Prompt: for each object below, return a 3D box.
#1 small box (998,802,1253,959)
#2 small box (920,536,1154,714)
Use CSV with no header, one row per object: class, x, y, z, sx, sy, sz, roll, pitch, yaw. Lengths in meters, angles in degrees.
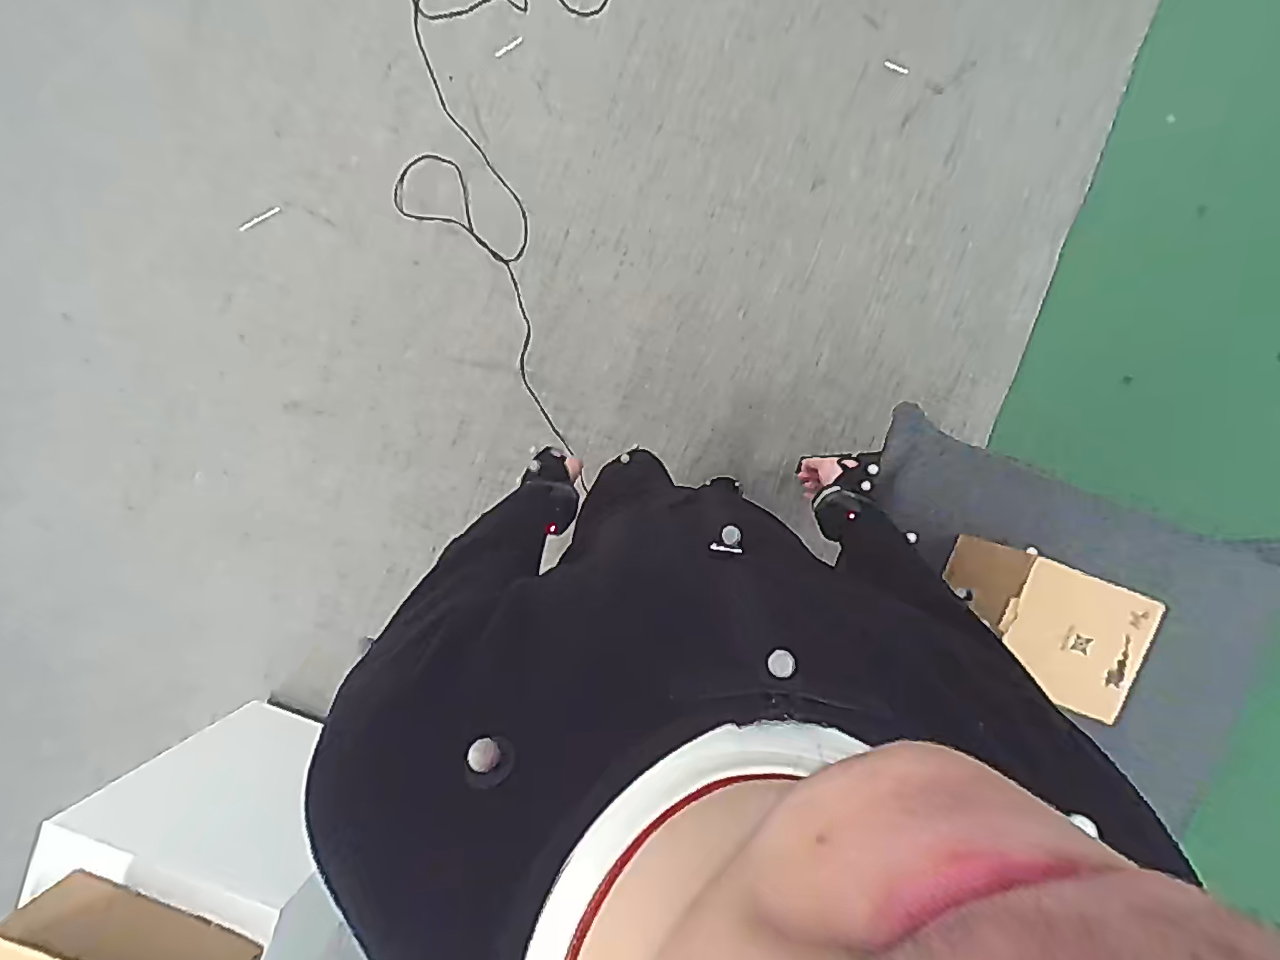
small box,0.656,0.596,0.759,0.179,0.176,0.168,22,94,1
small box,0.532,0.186,0.757,0.179,0.176,0.168,21,94,1
